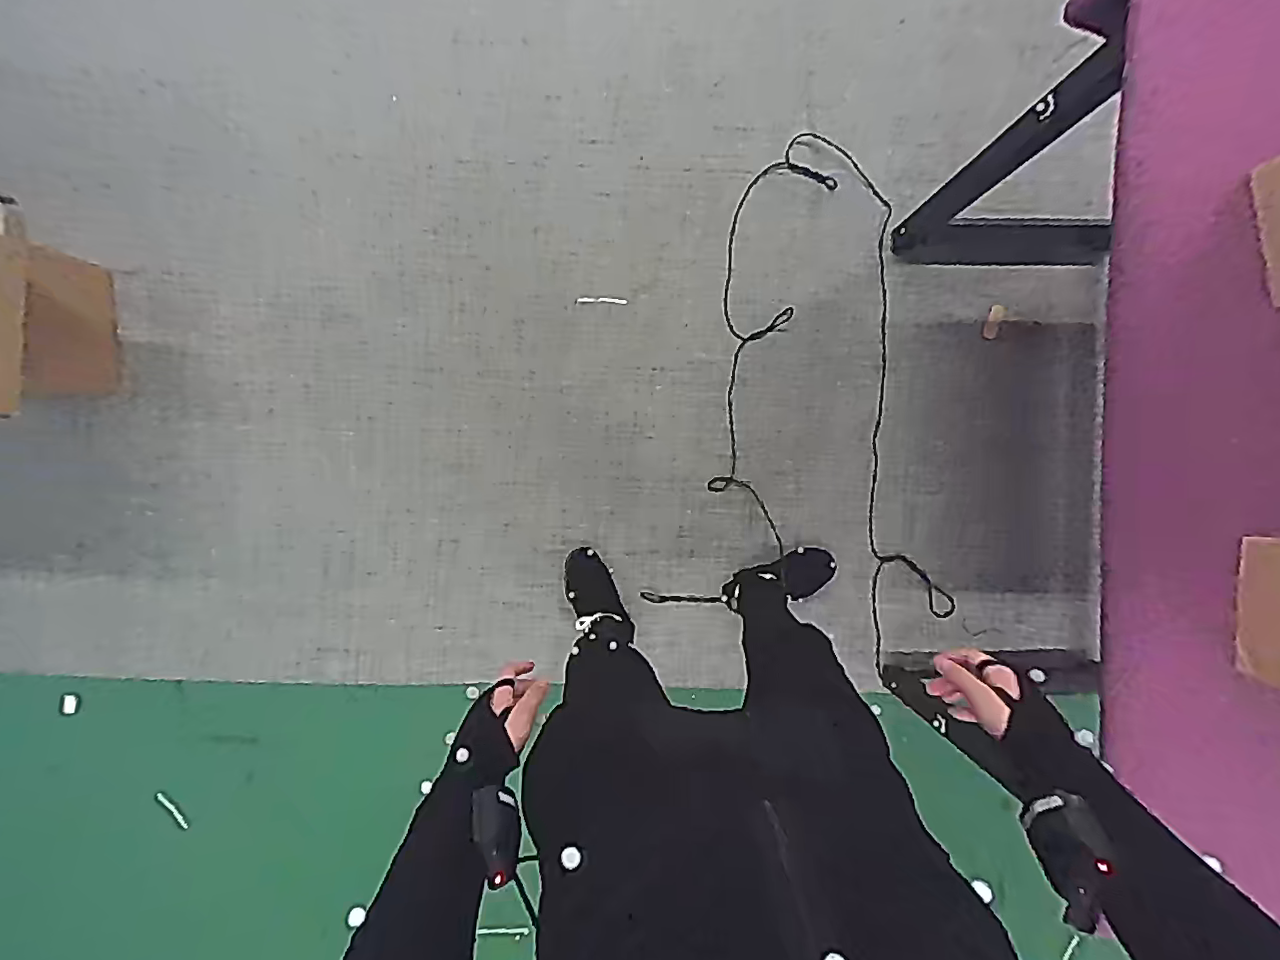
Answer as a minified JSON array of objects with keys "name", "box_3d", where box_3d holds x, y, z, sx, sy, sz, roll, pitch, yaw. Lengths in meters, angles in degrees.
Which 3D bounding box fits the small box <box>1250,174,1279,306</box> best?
[{"name":"small box","box_3d":[0.864,-0.300,0.607,0.168,0.176,0.179,-12,91,-2]}]

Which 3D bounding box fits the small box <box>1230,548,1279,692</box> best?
[{"name":"small box","box_3d":[0.845,0.176,0.618,0.168,0.176,0.179,3,91,-2]}]
